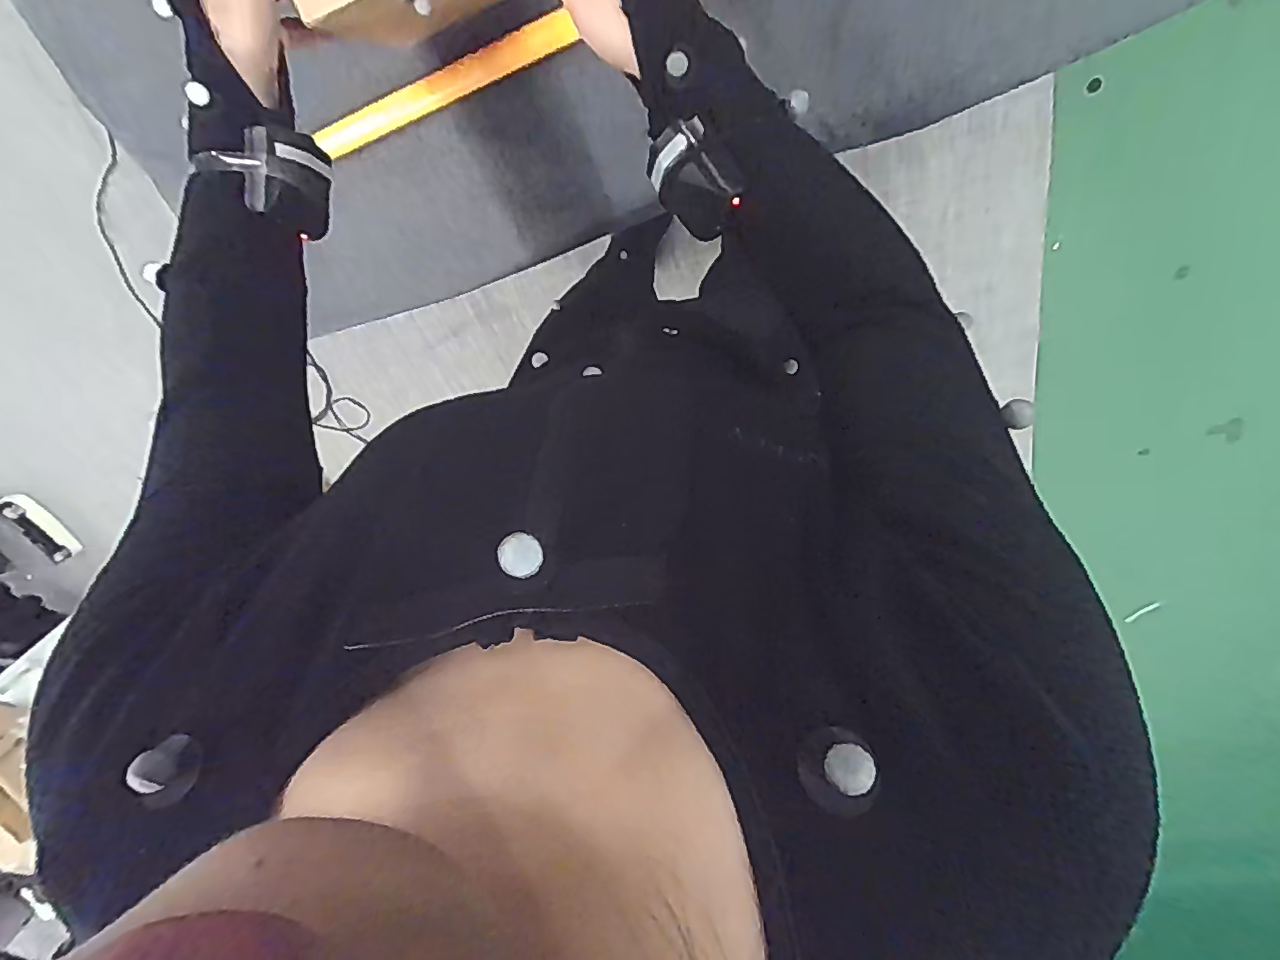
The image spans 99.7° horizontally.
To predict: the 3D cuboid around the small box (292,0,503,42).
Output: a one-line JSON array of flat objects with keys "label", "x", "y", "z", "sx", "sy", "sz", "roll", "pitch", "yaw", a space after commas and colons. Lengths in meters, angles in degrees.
[{"label": "small box", "x": -0.173, "y": -0.447, "z": 0.387, "sx": 0.179, "sy": 0.176, "sz": 0.168, "roll": -13, "pitch": 124, "yaw": 14}]
